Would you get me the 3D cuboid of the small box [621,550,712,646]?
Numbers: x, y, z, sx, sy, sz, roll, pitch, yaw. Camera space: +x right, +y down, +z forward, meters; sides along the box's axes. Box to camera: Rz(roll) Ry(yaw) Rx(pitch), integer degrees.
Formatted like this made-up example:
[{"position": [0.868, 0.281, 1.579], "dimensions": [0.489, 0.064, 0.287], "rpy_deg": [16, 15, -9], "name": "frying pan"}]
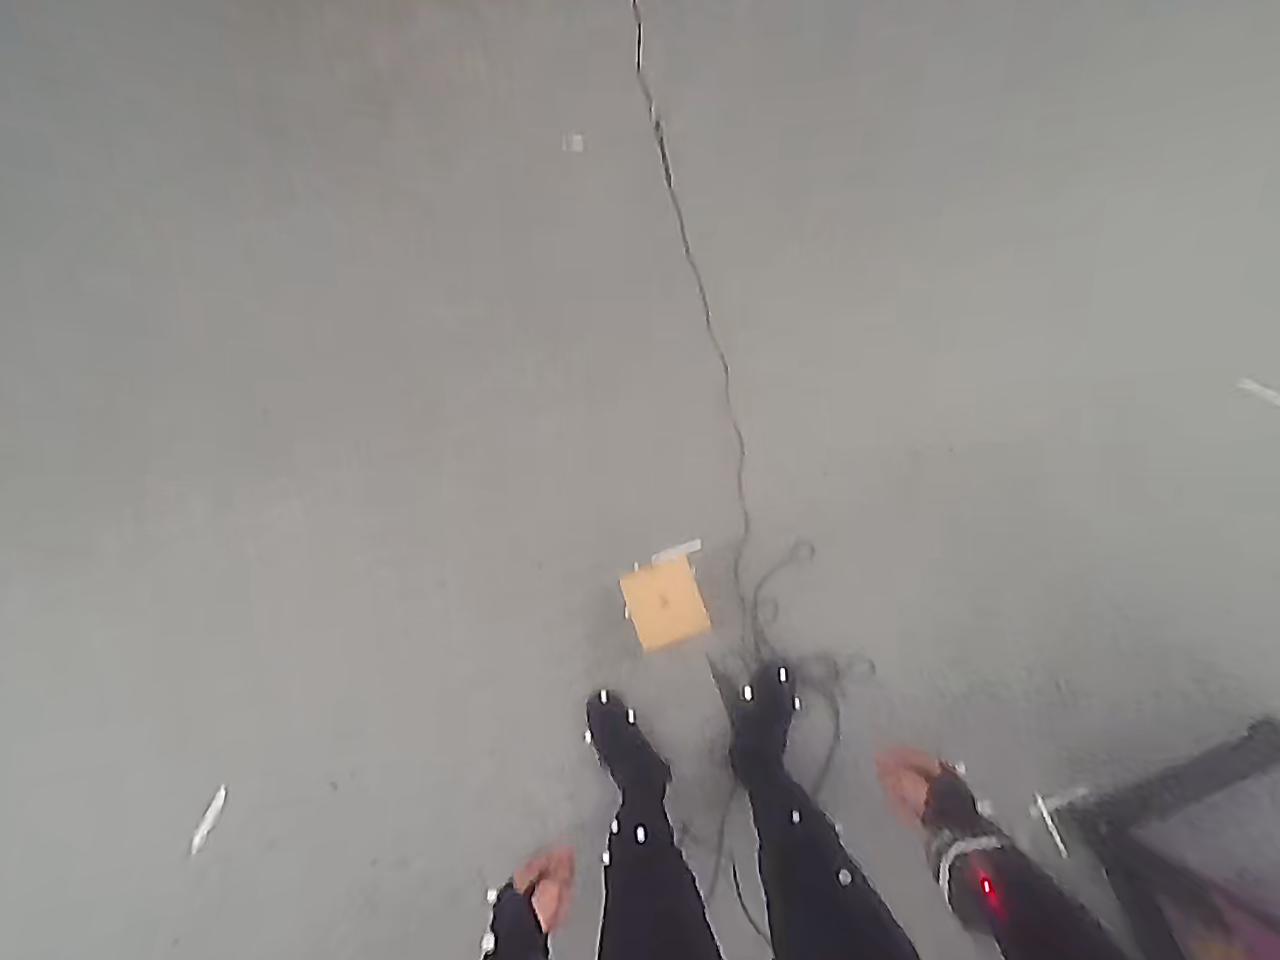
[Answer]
[{"position": [0.060, 0.279, 1.303], "dimensions": [0.168, 0.176, 0.179], "rpy_deg": [-20, 81, -1], "name": "small box"}]
